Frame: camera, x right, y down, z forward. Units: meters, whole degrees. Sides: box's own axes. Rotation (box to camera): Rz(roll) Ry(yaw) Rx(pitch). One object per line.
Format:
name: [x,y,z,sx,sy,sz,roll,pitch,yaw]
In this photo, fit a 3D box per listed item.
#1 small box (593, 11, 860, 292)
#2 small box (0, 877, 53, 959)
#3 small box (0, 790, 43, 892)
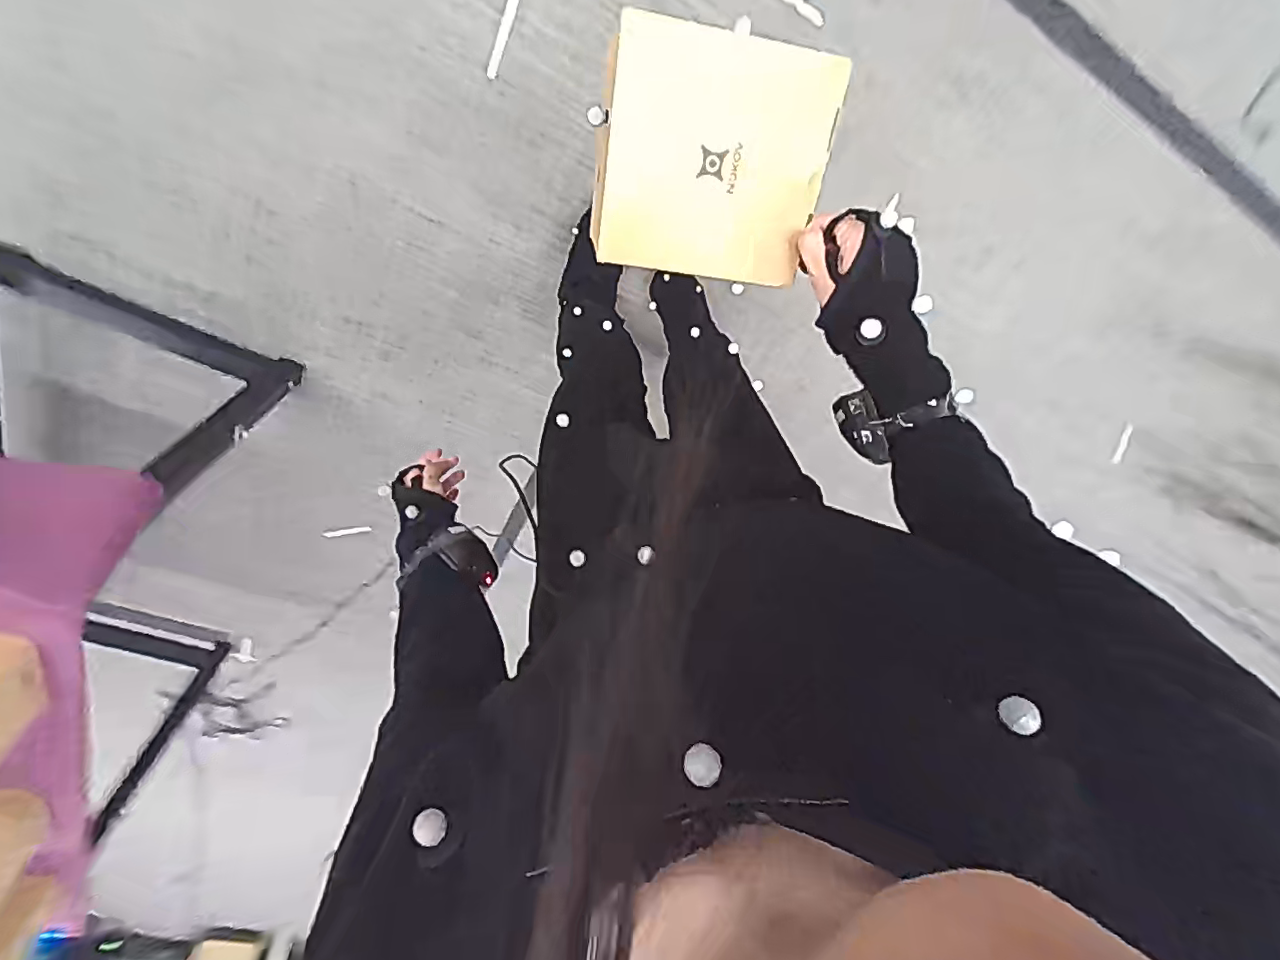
small box: [0.054,-0.277,0.482,0.179,0.176,0.168,3,119,-11]
small box: [-1.286,0.874,1.031,0.179,0.176,0.168,24,119,-18]
small box: [-1.100,0.597,0.845,0.168,0.176,0.179,24,120,-20]
